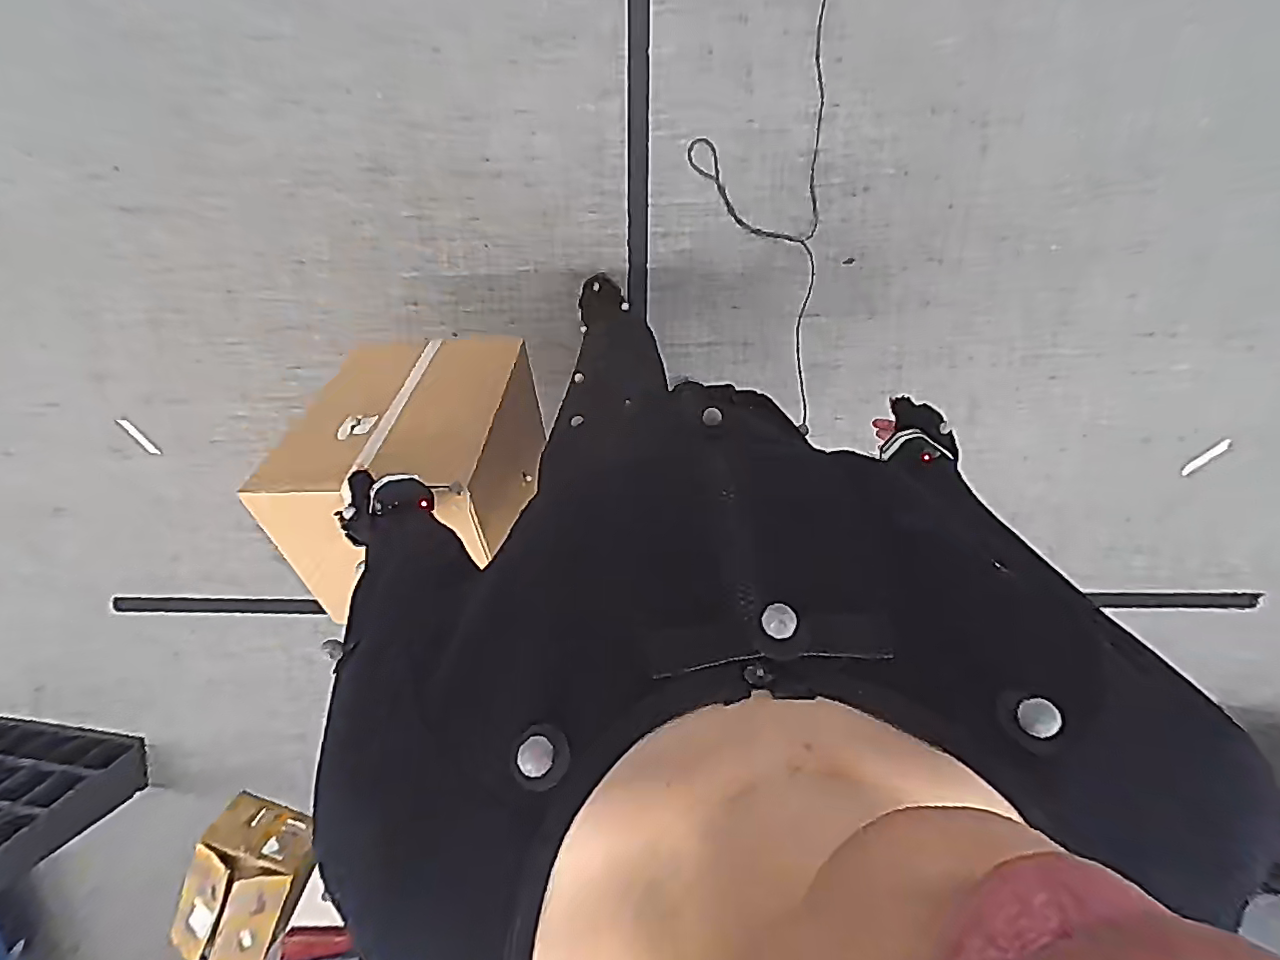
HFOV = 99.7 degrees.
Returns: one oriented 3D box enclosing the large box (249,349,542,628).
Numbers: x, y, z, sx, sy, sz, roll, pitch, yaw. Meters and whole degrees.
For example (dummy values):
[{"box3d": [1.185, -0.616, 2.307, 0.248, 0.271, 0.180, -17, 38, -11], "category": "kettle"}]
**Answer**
[{"box3d": [-0.368, 0.004, 0.961, 0.320, 0.408, 0.320, -3, 132, 3], "category": "large box"}]
